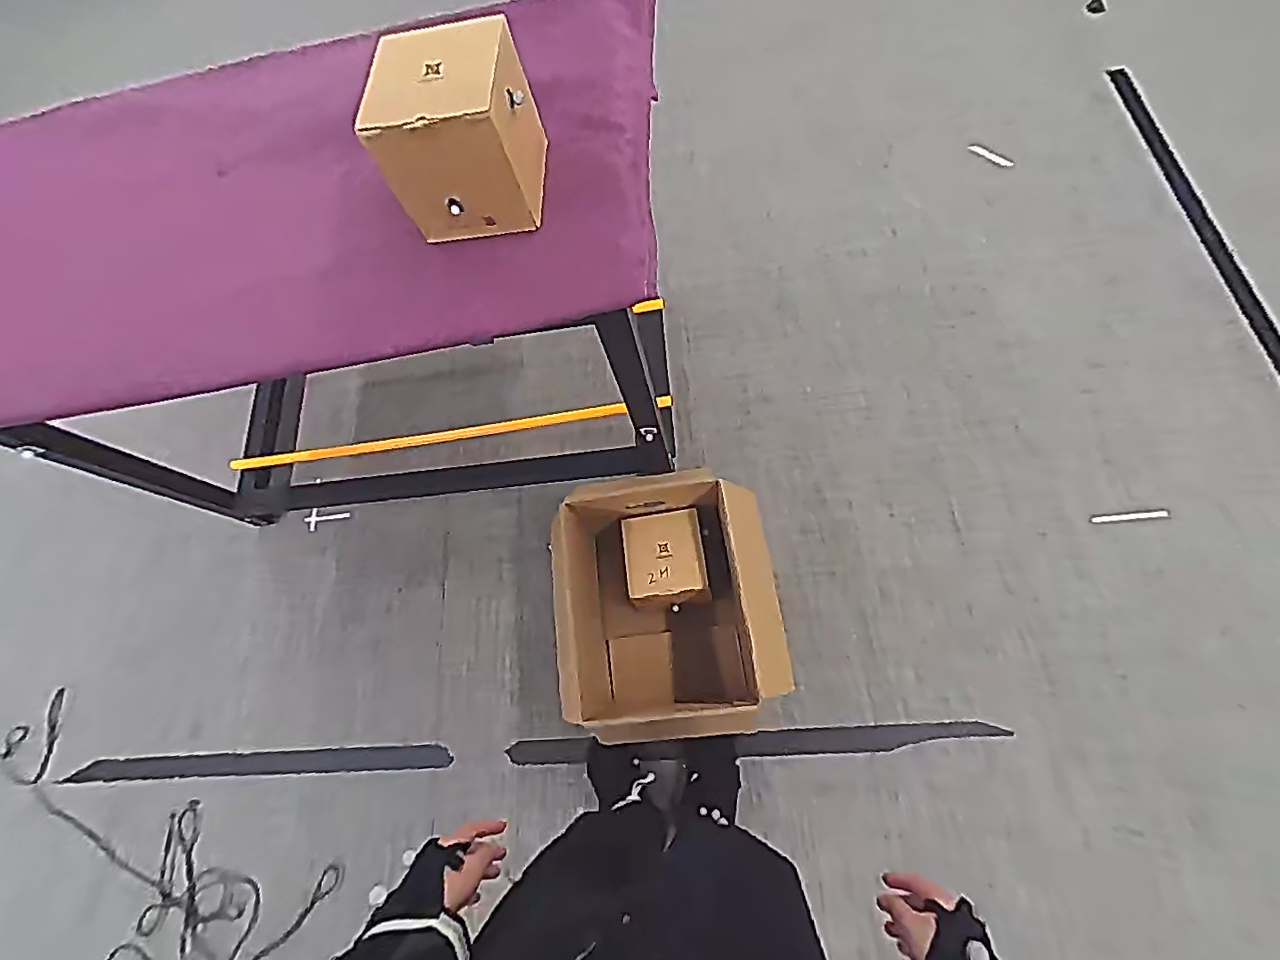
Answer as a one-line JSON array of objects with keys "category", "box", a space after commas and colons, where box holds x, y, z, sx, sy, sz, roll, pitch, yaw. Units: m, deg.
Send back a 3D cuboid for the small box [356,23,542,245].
[{"category": "small box", "box": [-0.235, -0.446, 0.715, 0.168, 0.176, 0.179, -4, 69, 9]}]
